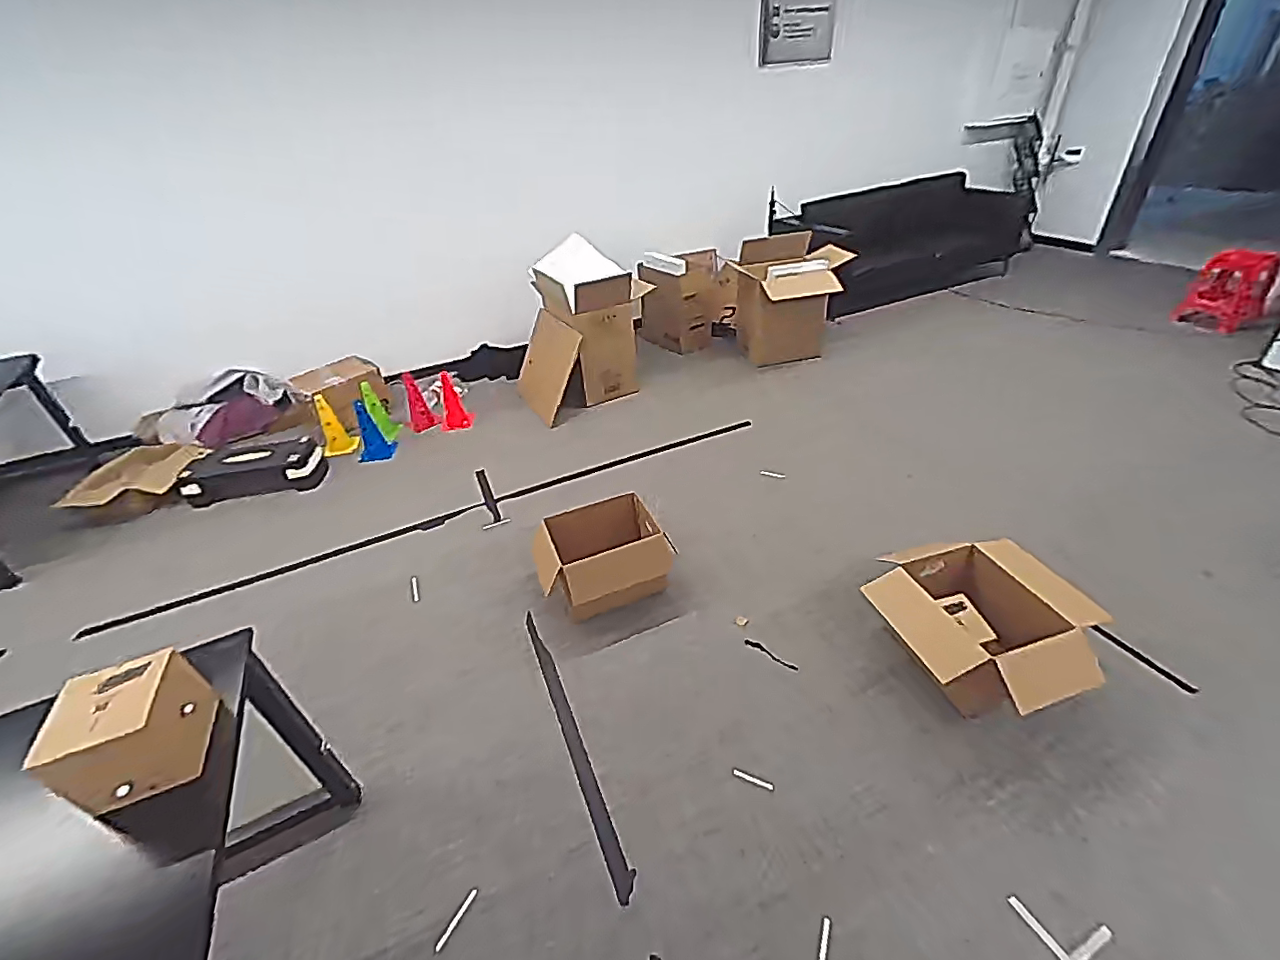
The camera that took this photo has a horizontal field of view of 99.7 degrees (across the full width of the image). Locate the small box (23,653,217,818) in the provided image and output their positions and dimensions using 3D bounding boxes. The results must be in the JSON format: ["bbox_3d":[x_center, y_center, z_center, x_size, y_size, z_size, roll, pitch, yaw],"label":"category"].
[{"bbox_3d":[-0.894,0.448,0.956,0.168,0.176,0.179,-18,38,-15],"label":"small box"}]
